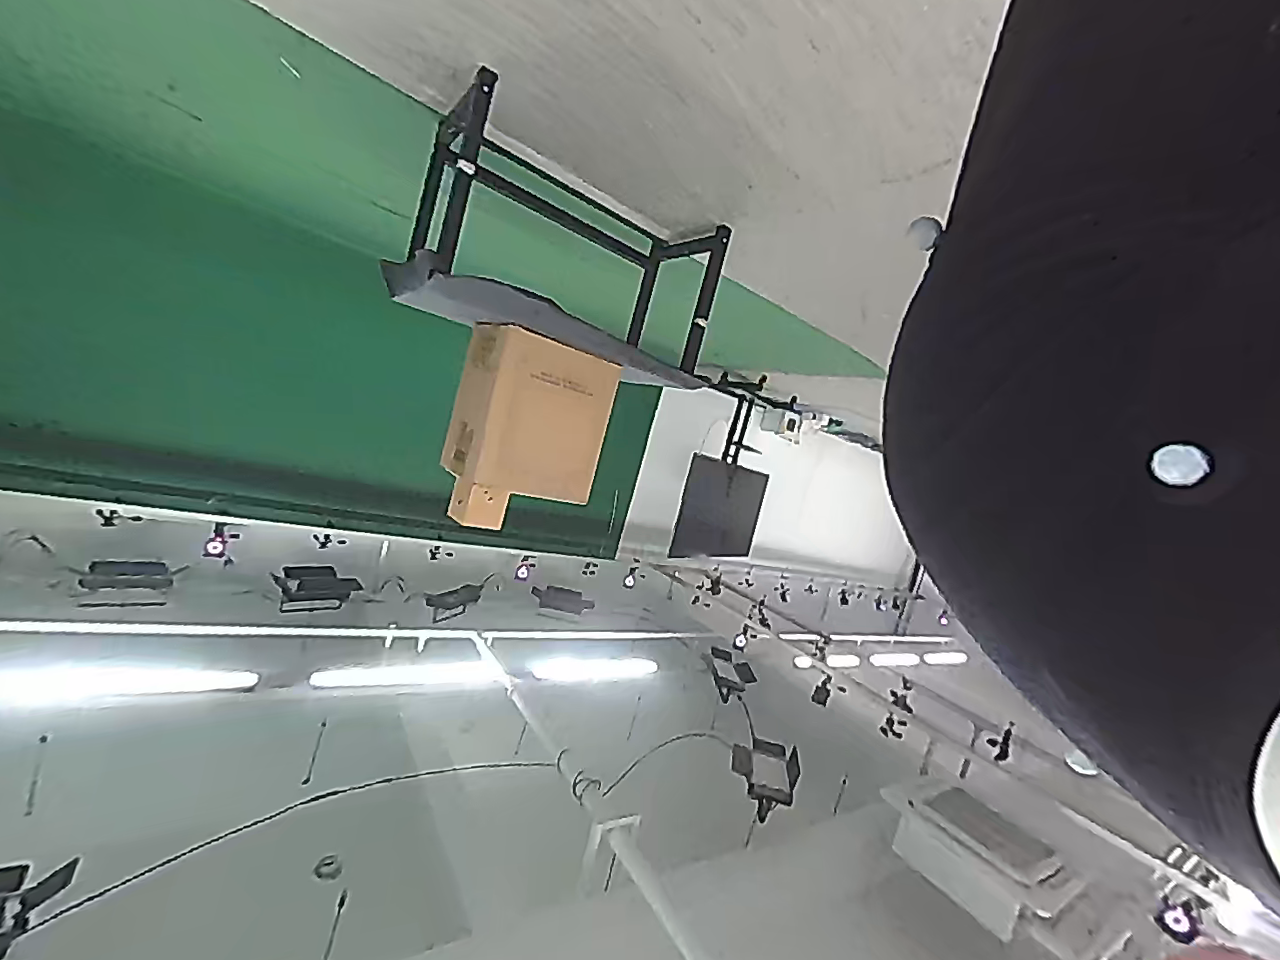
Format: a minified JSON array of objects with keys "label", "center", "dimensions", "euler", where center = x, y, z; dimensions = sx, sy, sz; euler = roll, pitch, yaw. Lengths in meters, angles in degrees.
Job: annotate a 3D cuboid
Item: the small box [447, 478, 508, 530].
[{"label":"small box","center":[-0.665,0.095,2.222],"dimensions":[0.168,0.176,0.179],"euler":[14,-179,-41]}]
